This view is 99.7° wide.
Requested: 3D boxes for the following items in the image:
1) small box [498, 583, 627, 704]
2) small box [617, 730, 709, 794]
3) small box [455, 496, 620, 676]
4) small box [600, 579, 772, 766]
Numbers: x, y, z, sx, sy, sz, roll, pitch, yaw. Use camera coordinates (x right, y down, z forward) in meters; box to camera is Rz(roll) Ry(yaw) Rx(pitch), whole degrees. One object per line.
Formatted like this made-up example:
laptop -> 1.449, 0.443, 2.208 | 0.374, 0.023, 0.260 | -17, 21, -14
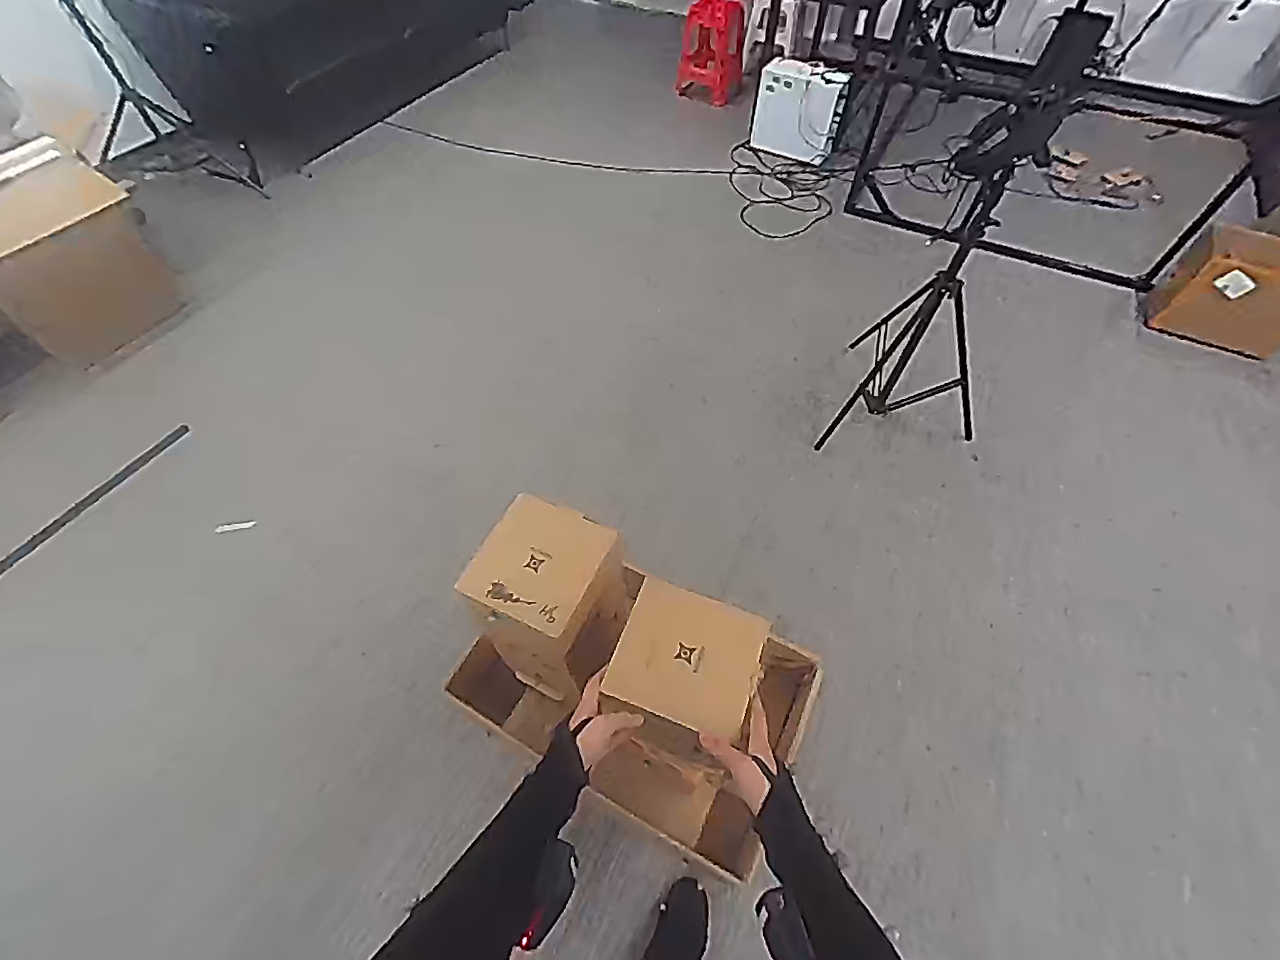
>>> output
small box -> -0.133, 0.258, 0.942 | 0.168, 0.176, 0.179 | 21, 58, 15
small box -> 0.071, 0.451, 1.007 | 0.168, 0.176, 0.179 | 25, 59, 19
small box -> -0.140, 0.160, 0.808 | 0.168, 0.176, 0.179 | 21, 57, 16
small box -> 0.059, 0.265, 0.731 | 0.179, 0.176, 0.168 | 18, 55, 11
